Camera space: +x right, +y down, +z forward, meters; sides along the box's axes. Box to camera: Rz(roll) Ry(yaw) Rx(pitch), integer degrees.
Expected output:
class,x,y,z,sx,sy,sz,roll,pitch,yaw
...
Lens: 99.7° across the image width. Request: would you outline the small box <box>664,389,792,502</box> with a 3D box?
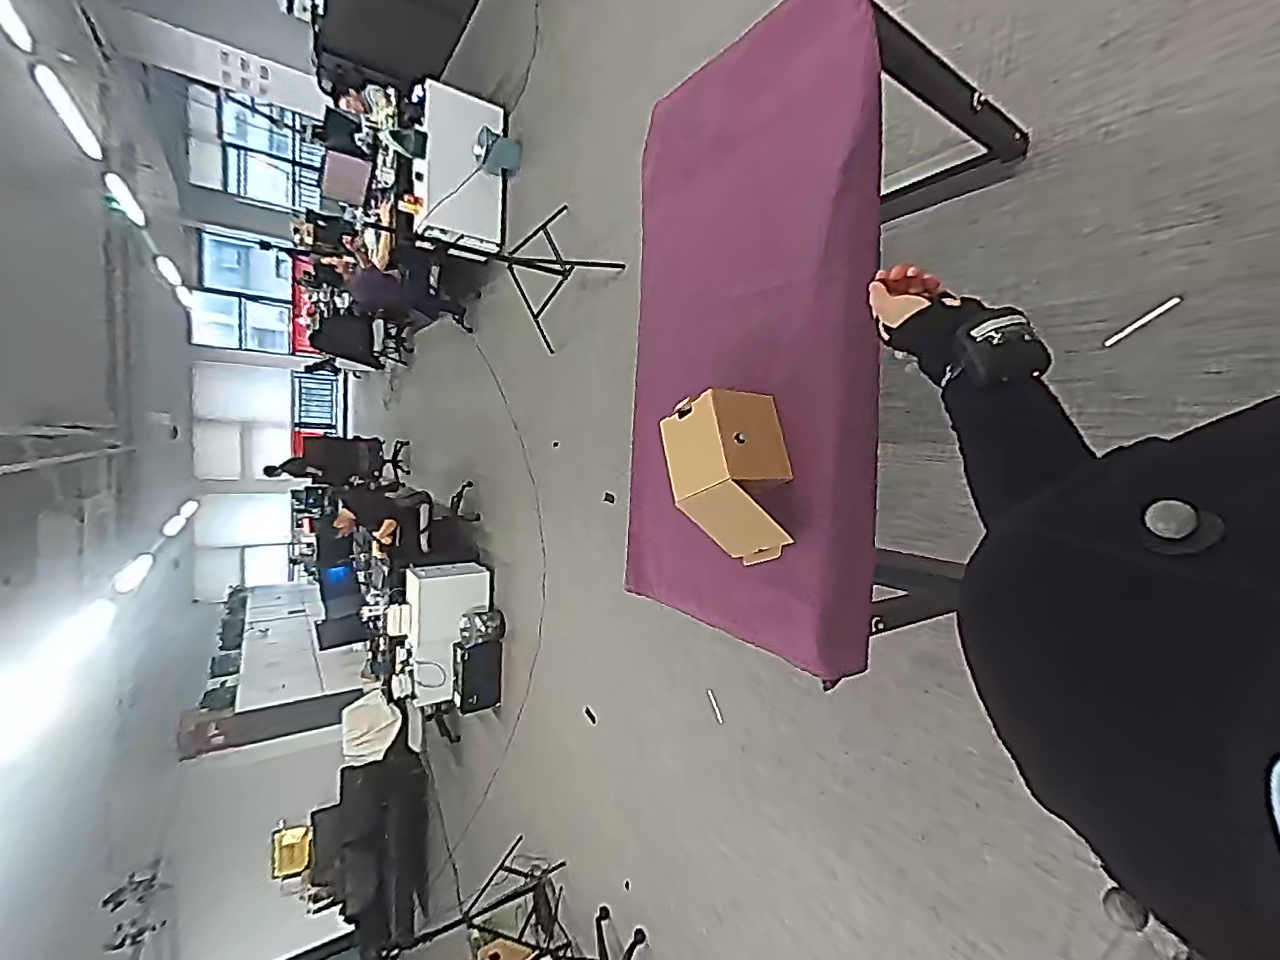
class,x,y,z,sx,sy,sz,roll,pitch,yaw
small box,0.174,-0.062,1.064,0.168,0.176,0.179,-29,66,52
